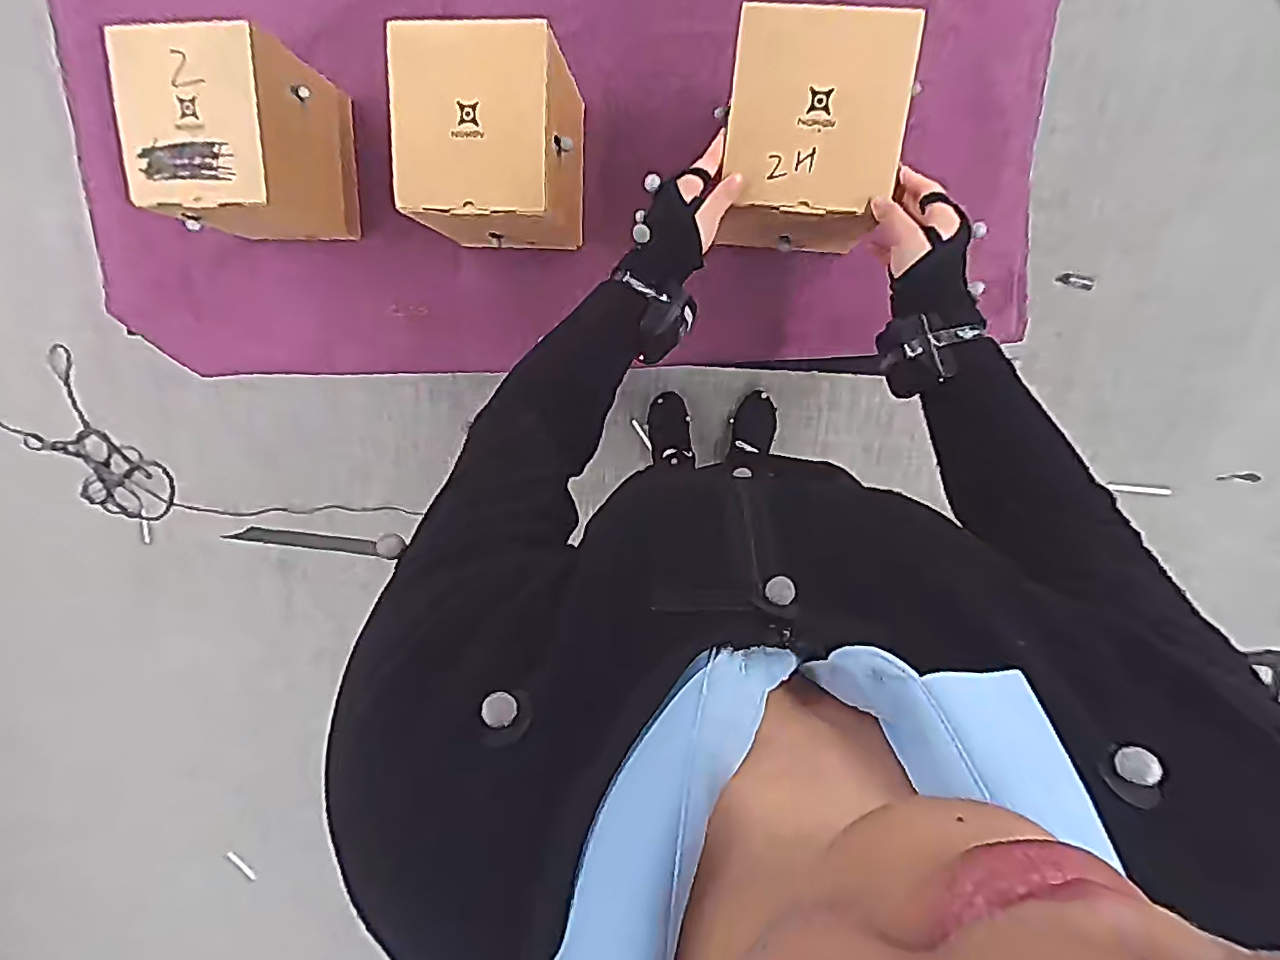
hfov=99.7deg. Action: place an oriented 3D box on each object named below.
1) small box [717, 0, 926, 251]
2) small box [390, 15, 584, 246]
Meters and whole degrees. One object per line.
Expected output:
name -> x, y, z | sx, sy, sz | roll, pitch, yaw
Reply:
small box -> 0.176, -0.364, 0.584 | 0.168, 0.176, 0.179 | 7, 102, 6
small box -> -0.163, -0.383, 0.621 | 0.168, 0.176, 0.179 | 4, 103, 6
